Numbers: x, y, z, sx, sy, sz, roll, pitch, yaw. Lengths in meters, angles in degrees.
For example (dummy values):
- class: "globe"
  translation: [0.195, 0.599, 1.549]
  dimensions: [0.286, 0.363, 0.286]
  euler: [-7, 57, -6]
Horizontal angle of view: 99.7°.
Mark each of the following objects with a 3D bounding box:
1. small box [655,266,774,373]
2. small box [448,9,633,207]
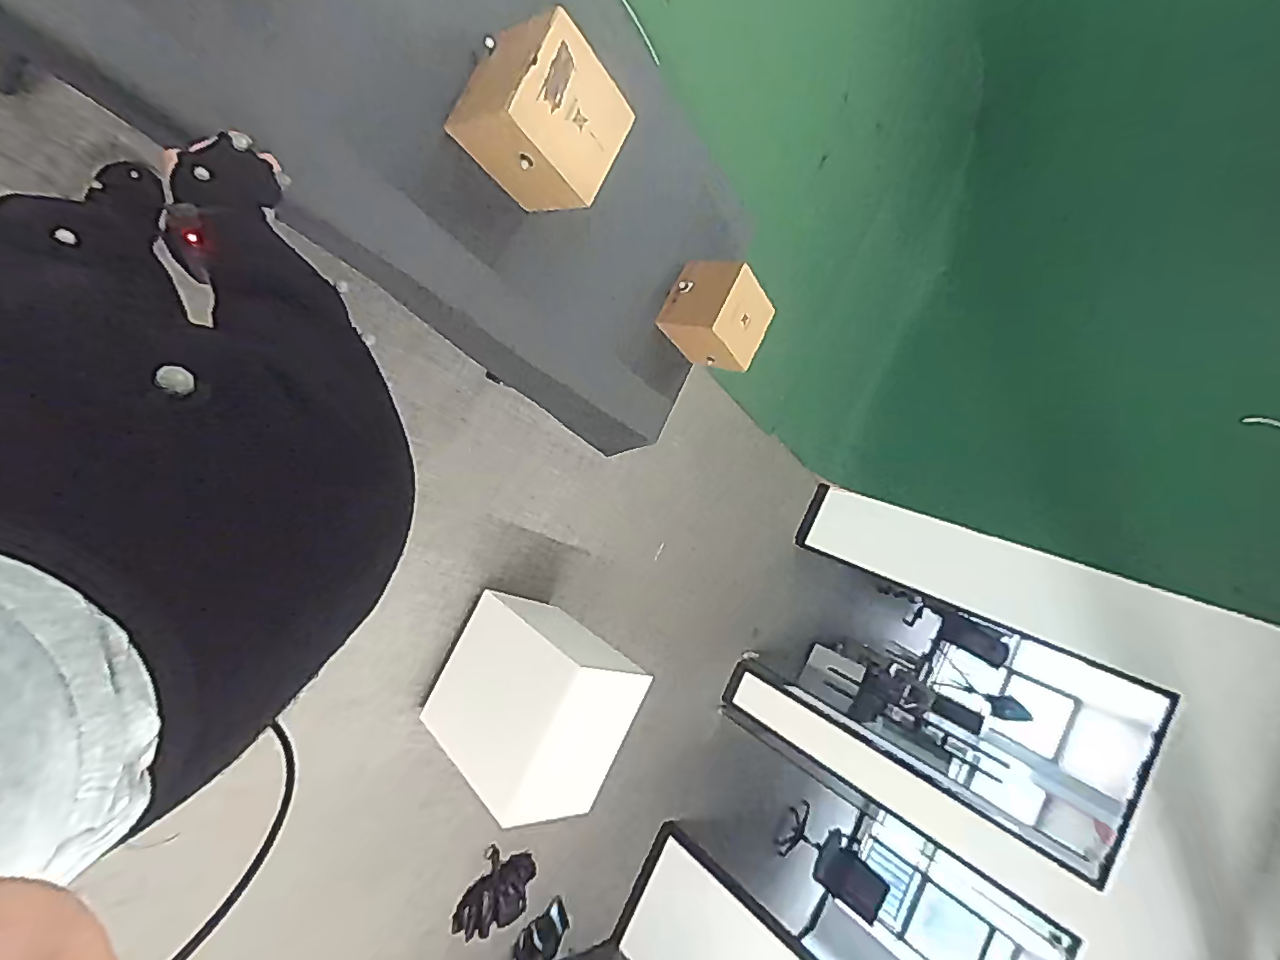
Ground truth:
- class: "small box"
  translation: [0.168, -0.367, 1.223]
  dimensions: [0.179, 0.176, 0.168]
  euler: [32, 81, -48]
- class: "small box"
  translation: [-0.149, -0.529, 0.802]
  dimensions: [0.179, 0.176, 0.168]
  euler: [31, 83, -51]
